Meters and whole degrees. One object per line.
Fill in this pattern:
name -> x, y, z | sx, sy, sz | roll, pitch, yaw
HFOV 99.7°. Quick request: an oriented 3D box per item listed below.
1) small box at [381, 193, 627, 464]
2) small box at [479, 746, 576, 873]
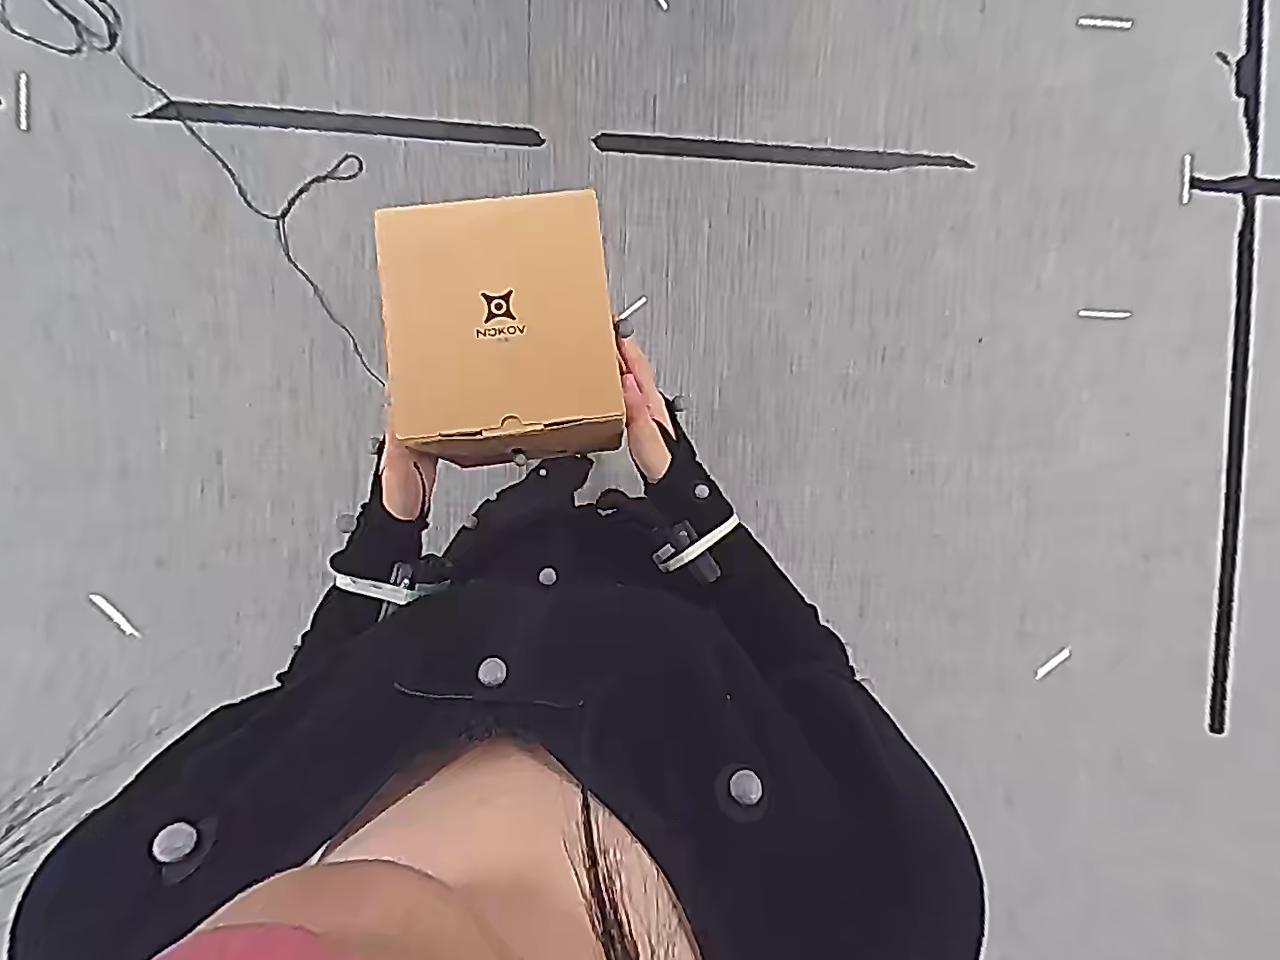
small box -> -0.106, -0.117, 0.477 | 0.168, 0.176, 0.179 | -7, 86, -4
small box -> -0.225, 0.671, 1.118 | 0.179, 0.176, 0.168 | 0, 90, -2
